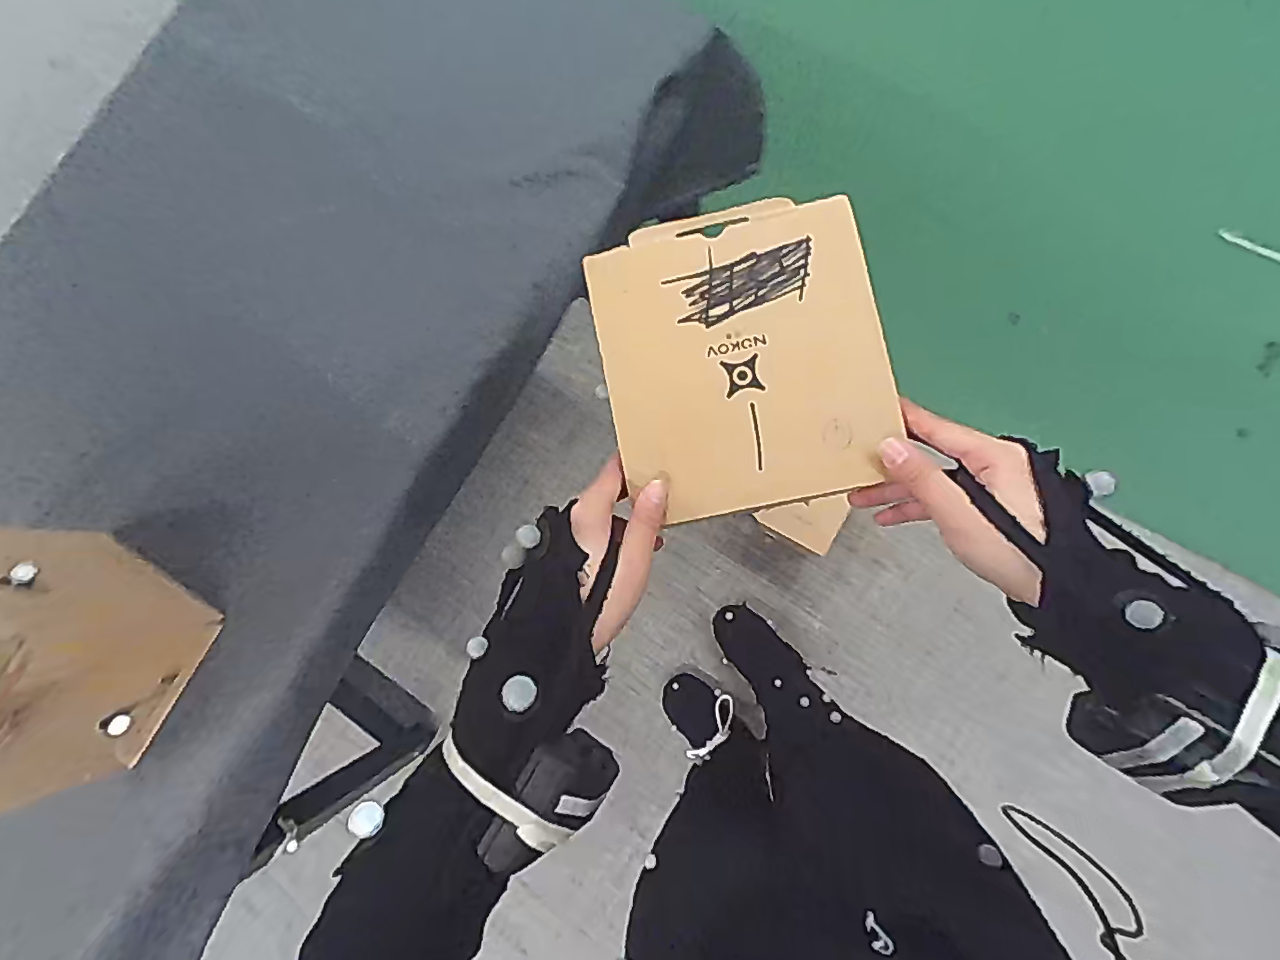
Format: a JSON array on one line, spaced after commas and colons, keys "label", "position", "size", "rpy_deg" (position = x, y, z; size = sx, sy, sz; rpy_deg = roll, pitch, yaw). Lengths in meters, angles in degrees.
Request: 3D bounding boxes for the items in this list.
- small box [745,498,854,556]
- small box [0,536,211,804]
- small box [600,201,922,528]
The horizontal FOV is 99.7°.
[{"label": "small box", "position": [0.325, 0.043, 1.114], "size": [0.168, 0.176, 0.179], "rpy_deg": [28, 86, 11]}, {"label": "small box", "position": [-0.536, 0.157, 0.459], "size": [0.179, 0.176, 0.168], "rpy_deg": [29, 86, 9]}, {"label": "small box", "position": [0.075, -0.062, 0.399], "size": [0.168, 0.176, 0.179], "rpy_deg": [-11, 84, 6]}]
